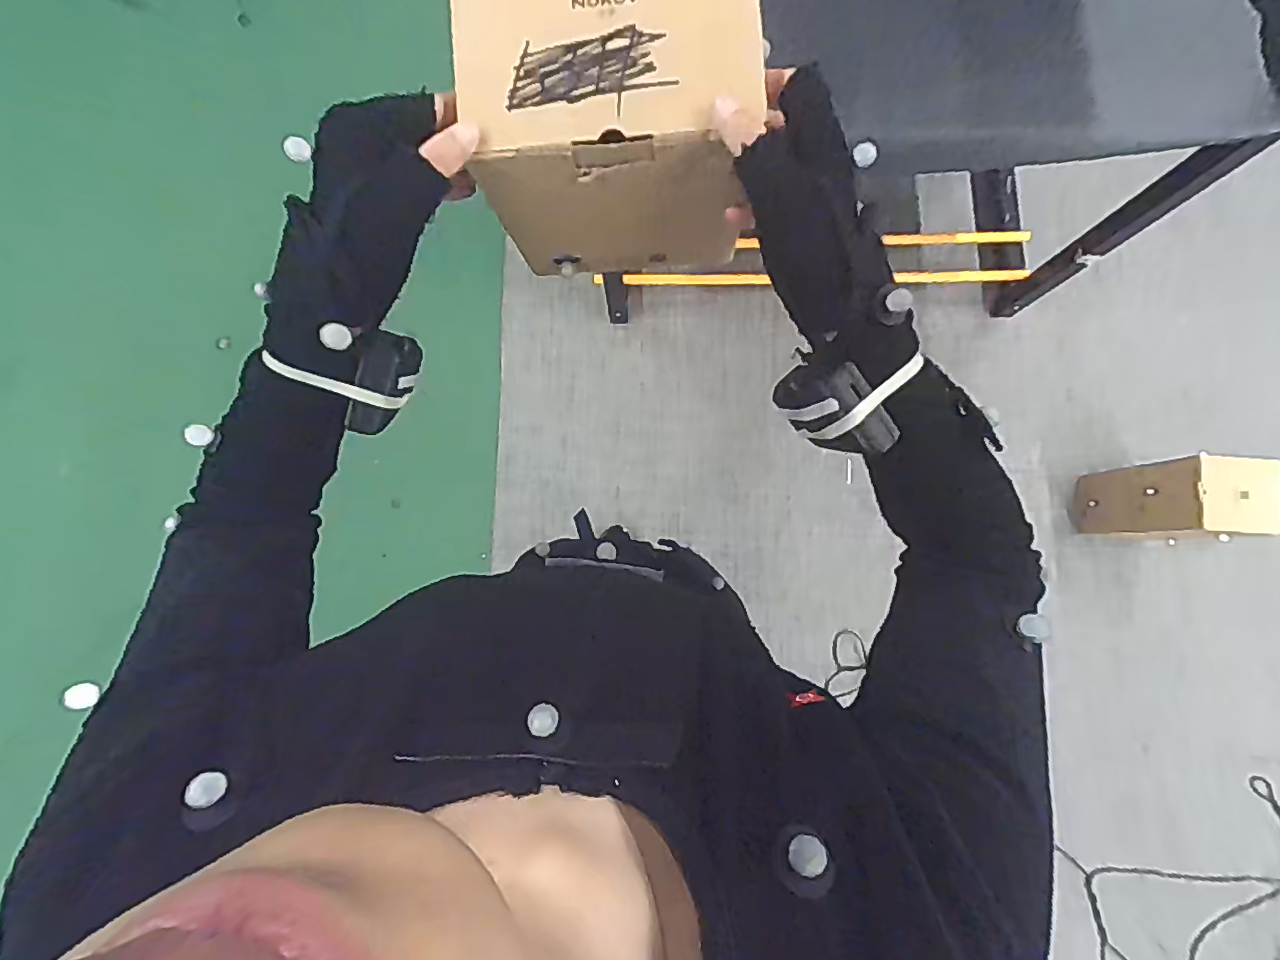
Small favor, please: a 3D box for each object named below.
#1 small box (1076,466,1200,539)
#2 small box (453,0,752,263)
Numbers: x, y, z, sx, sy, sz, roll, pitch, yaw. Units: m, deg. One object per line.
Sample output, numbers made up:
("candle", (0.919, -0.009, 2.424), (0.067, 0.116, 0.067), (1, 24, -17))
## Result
("small box", (1.290, 0.064, 1.409), (0.179, 0.176, 0.168), (5, 82, 2))
("small box", (-0.018, -0.266, 0.376), (0.168, 0.176, 0.179), (-3, 88, 3))
